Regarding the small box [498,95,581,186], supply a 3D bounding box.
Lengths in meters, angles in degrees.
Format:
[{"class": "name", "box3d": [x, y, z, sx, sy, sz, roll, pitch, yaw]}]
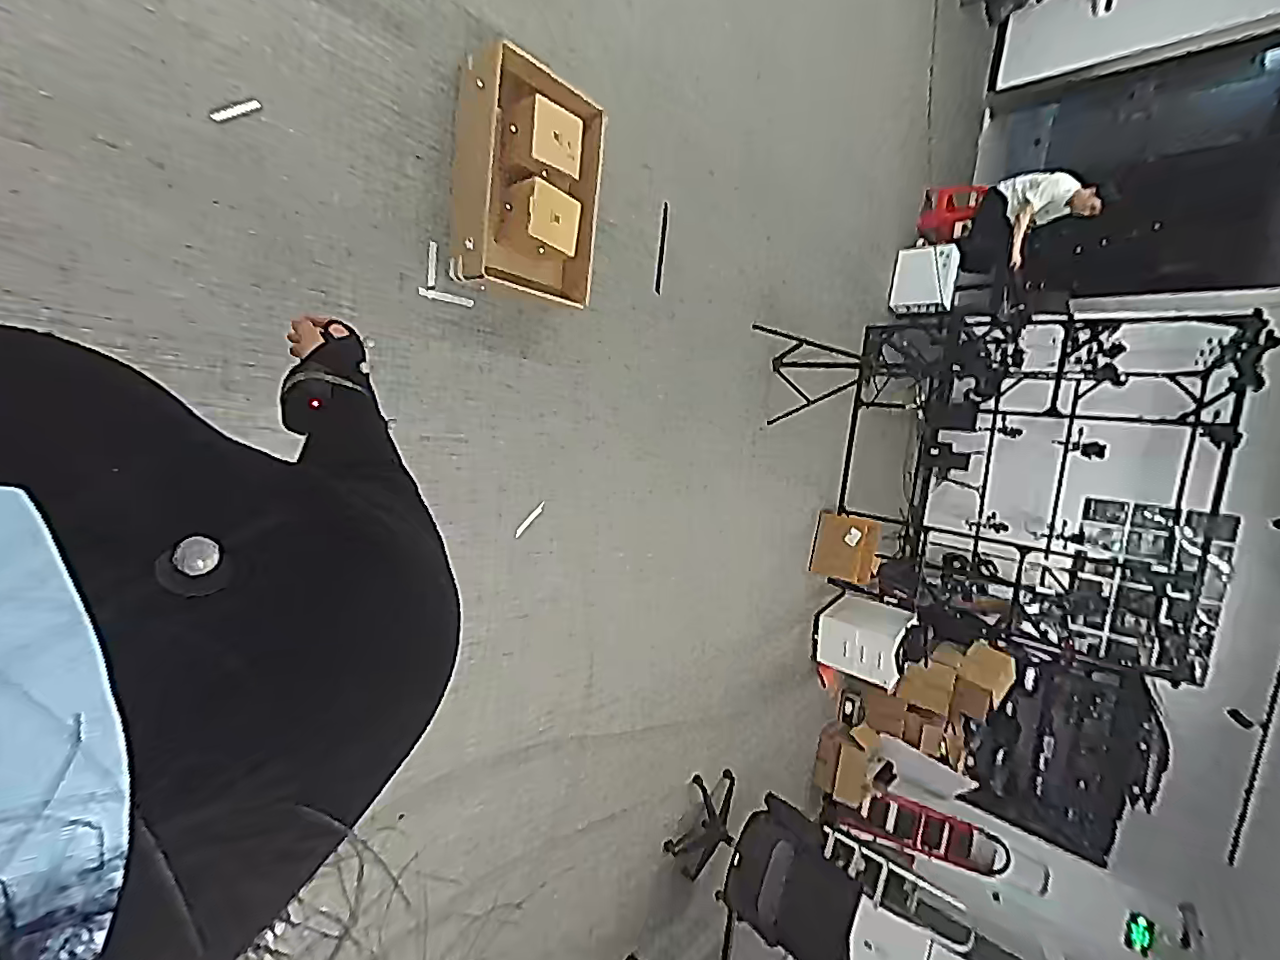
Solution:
[{"class": "small box", "box3d": [-0.301, -0.991, 1.603, 0.179, 0.176, 0.168, -3, 103, -49]}]

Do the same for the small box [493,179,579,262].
[{"class": "small box", "box3d": [-0.315, -0.777, 1.642, 0.179, 0.176, 0.168, 8, 92, -50]}]
